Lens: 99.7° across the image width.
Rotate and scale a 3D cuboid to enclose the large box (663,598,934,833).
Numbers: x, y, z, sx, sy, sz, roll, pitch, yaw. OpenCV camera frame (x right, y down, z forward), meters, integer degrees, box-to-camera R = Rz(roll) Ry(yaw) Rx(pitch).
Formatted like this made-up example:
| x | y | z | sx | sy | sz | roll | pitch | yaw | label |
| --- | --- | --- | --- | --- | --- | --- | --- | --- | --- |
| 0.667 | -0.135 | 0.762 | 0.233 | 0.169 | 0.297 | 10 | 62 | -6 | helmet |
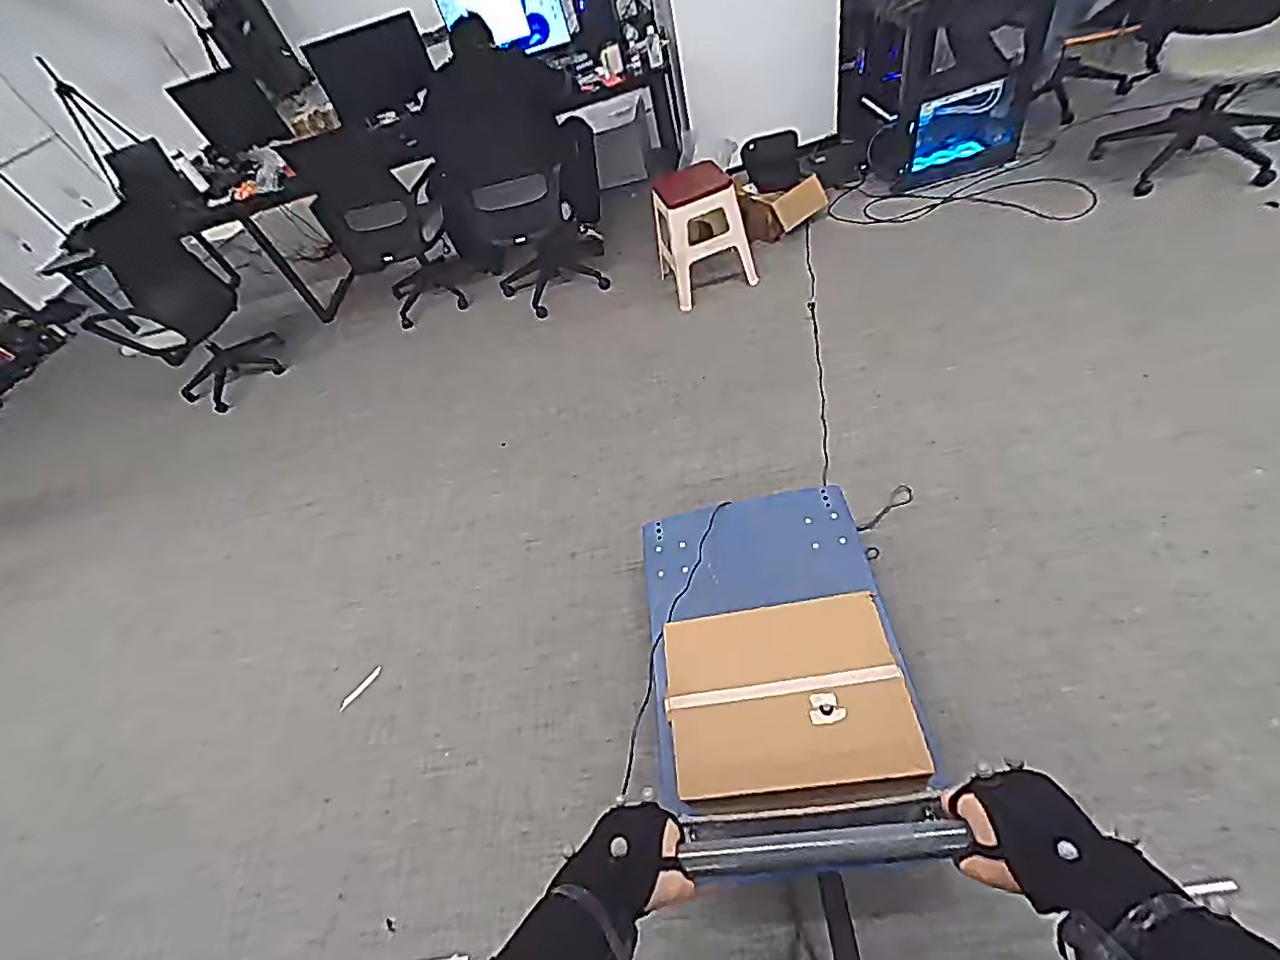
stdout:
| x | y | z | sx | sy | sz | roll | pitch | yaw | label |
| --- | --- | --- | --- | --- | --- | --- | --- | --- | --- |
| 0.280 | 0.468 | 1.053 | 0.408 | 0.320 | 0.320 | -11 | 51 | 8 | large box |
